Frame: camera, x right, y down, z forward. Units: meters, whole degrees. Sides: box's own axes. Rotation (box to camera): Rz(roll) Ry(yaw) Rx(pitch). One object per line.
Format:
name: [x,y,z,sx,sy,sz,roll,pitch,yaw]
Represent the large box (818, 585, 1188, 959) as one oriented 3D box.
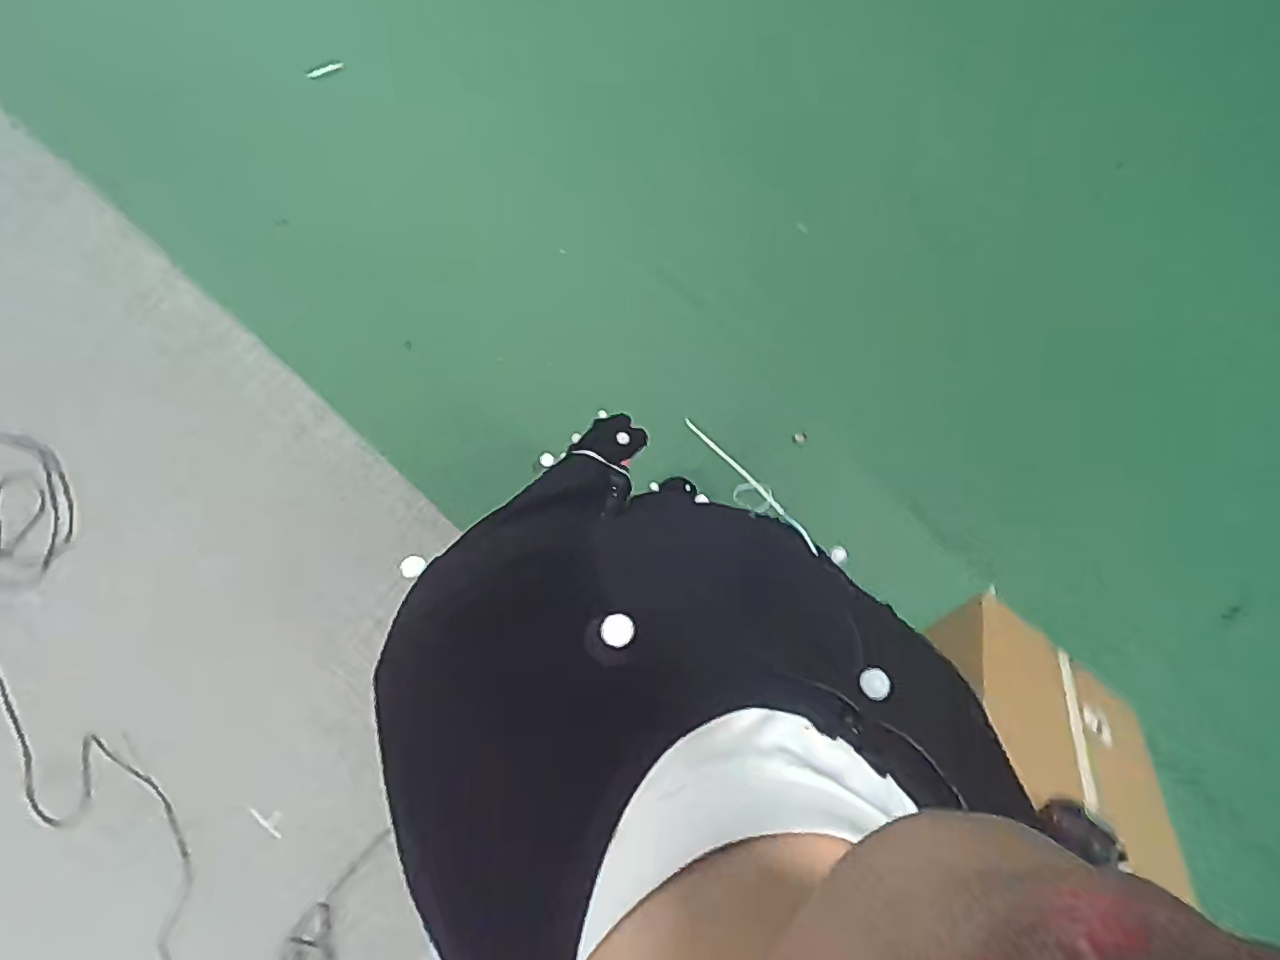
large box: [0.545,0.459,0.887,0.320,0.408,0.320,43,126,9]
